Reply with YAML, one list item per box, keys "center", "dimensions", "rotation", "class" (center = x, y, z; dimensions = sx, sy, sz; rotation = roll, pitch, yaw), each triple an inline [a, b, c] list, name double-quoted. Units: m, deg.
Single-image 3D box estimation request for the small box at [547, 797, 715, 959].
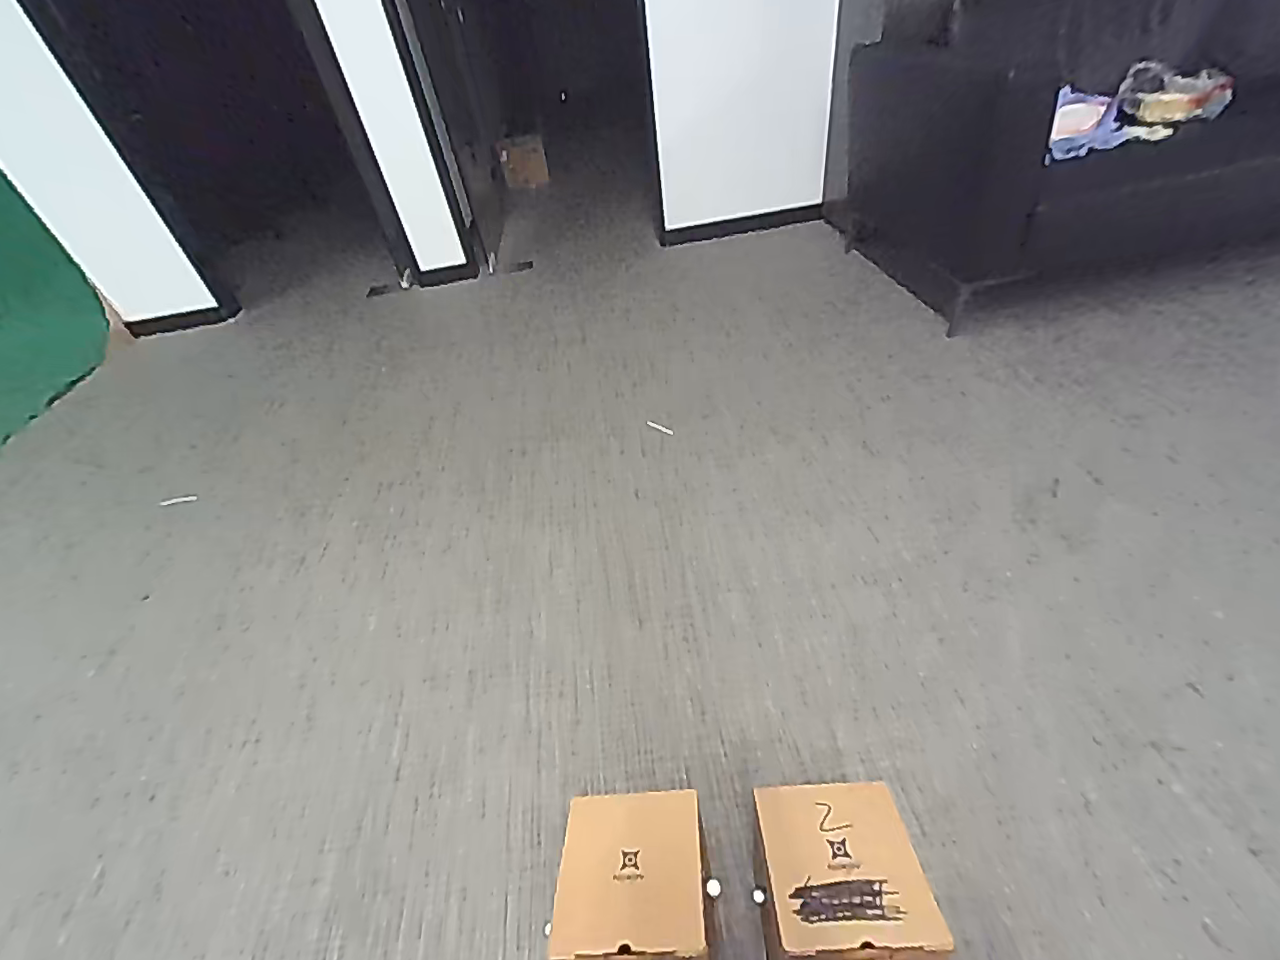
- center: [0.000, 0.521, 0.653]
  dimensions: [0.168, 0.176, 0.179]
  rotation: [-7, 24, 7]
  class: "small box"
